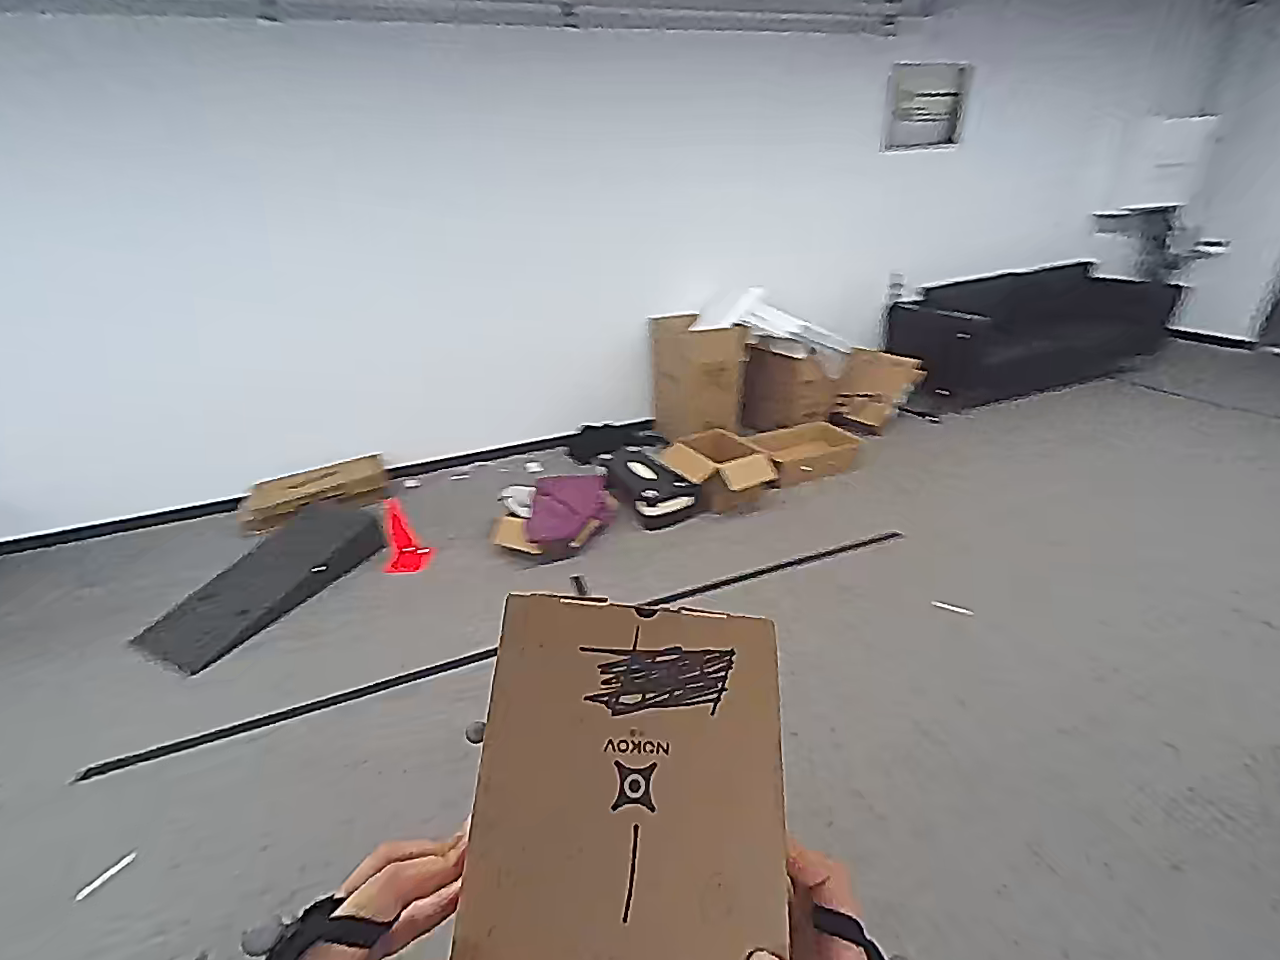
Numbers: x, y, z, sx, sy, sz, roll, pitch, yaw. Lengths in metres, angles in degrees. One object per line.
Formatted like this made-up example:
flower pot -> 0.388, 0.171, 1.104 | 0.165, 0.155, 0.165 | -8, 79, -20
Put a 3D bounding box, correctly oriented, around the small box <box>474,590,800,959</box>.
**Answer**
small box -> -0.008, 0.189, 0.370 | 0.168, 0.176, 0.179 | 7, 64, -7
